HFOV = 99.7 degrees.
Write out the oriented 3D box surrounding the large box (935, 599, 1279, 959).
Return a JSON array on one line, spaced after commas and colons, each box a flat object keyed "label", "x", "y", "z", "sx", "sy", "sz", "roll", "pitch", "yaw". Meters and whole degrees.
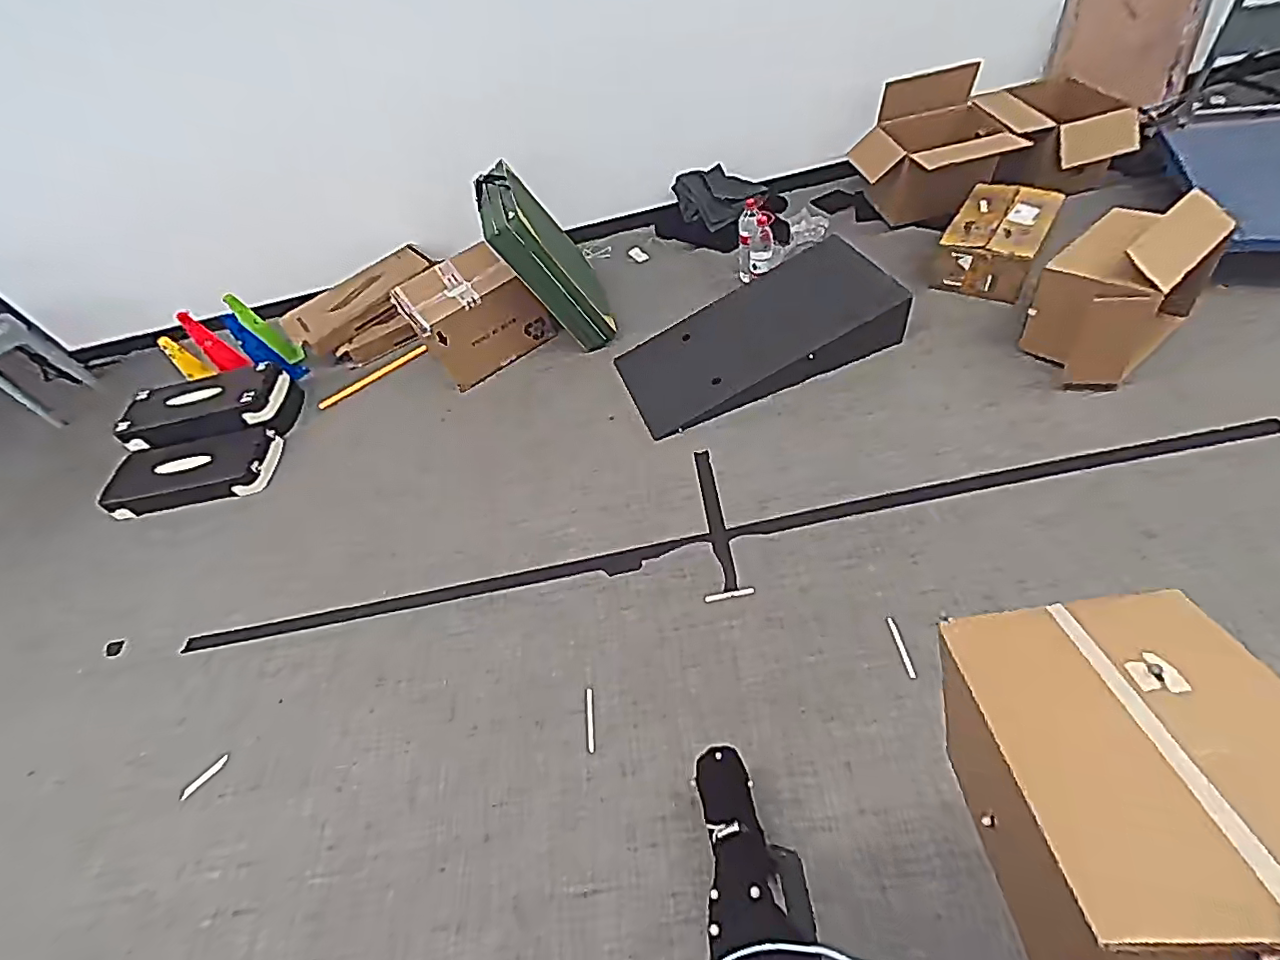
[{"label": "large box", "x": 0.621, "y": 0.419, "z": 0.689, "sx": 0.320, "sy": 0.320, "sz": 0.408, "roll": -10, "pitch": 26, "yaw": 13}]
